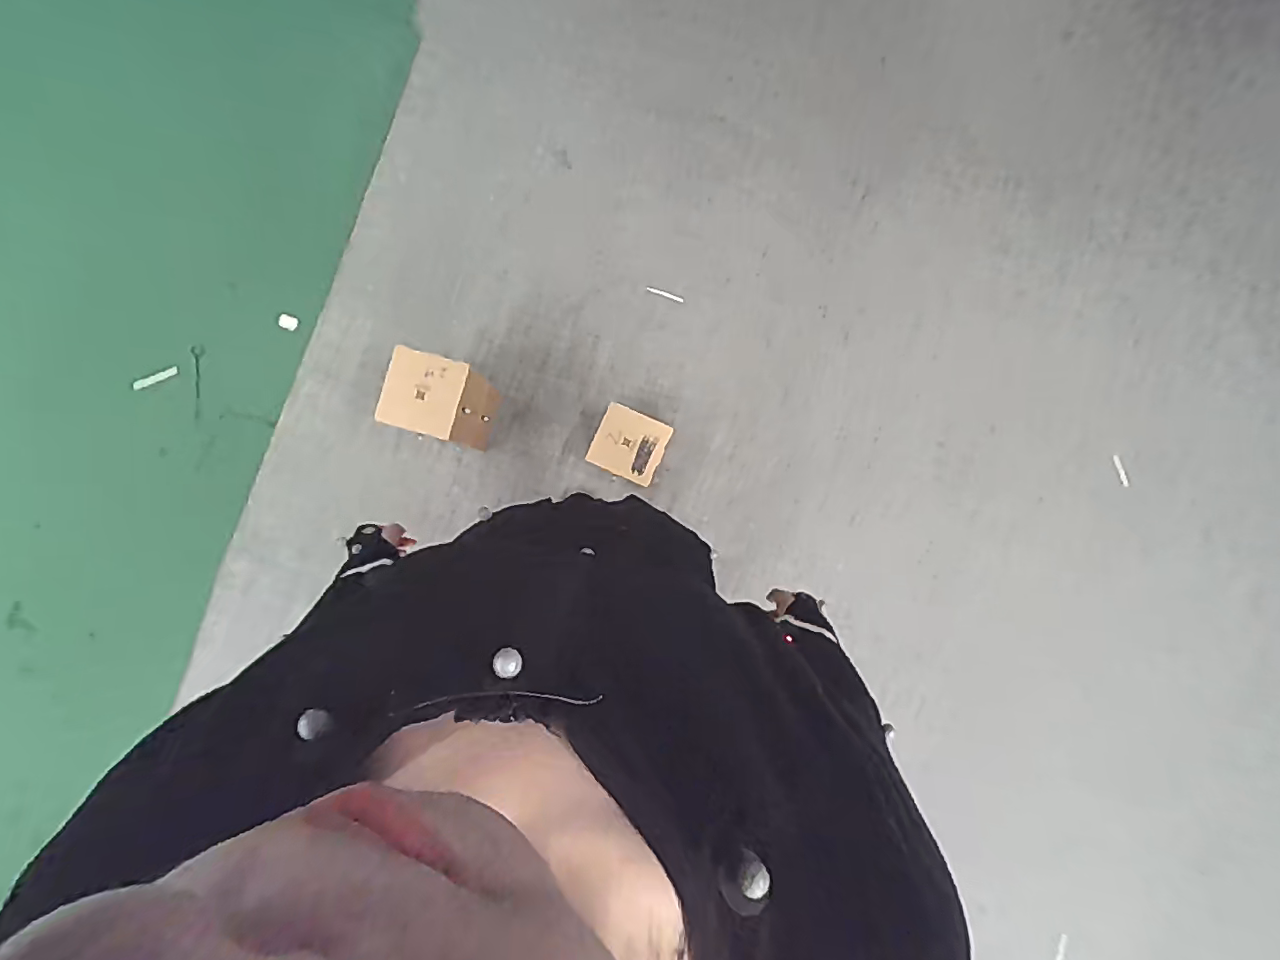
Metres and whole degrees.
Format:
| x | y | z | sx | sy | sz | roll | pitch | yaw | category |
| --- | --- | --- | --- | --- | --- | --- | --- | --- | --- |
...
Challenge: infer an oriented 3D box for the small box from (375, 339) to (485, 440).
| x | y | z | sx | sy | sz | roll | pitch | yaw | category |
| --- | --- | --- | --- | --- | --- | --- | --- | --- | --- |
| -0.475 | -0.200 | 1.252 | 0.168 | 0.176 | 0.179 | 17 | 88 | -3 | small box |

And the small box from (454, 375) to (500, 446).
| x | y | z | sx | sy | sz | roll | pitch | yaw | category |
| --- | --- | --- | --- | --- | --- | --- | --- | --- | --- |
| -0.480 | -0.197 | 1.417 | 0.168 | 0.176 | 0.179 | 18 | 87 | -3 | small box |
